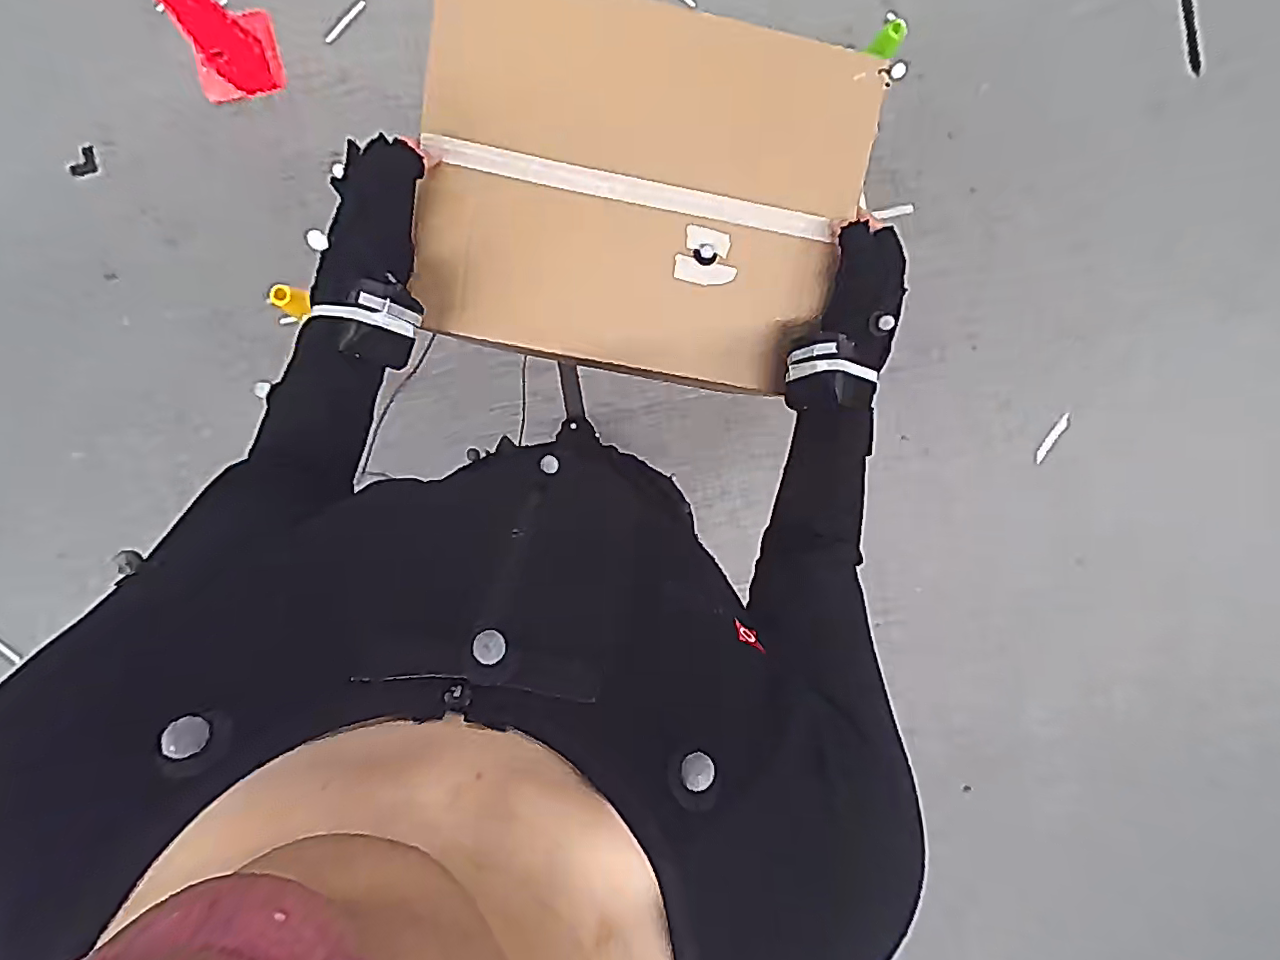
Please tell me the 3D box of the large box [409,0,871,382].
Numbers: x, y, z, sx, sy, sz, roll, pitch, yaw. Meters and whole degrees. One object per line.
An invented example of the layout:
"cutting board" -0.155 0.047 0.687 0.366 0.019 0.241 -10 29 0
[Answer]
"large box" -0.015 -0.300 0.648 0.408 0.320 0.320 8 100 -6

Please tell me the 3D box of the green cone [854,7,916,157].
"green cone" 0.525 -0.936 1.267 0.200 0.368 0.202 42 89 -5

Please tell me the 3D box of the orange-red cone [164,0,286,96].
"orange-red cone" -1.005 -1.073 1.198 0.198 0.360 0.199 -12 95 -1
